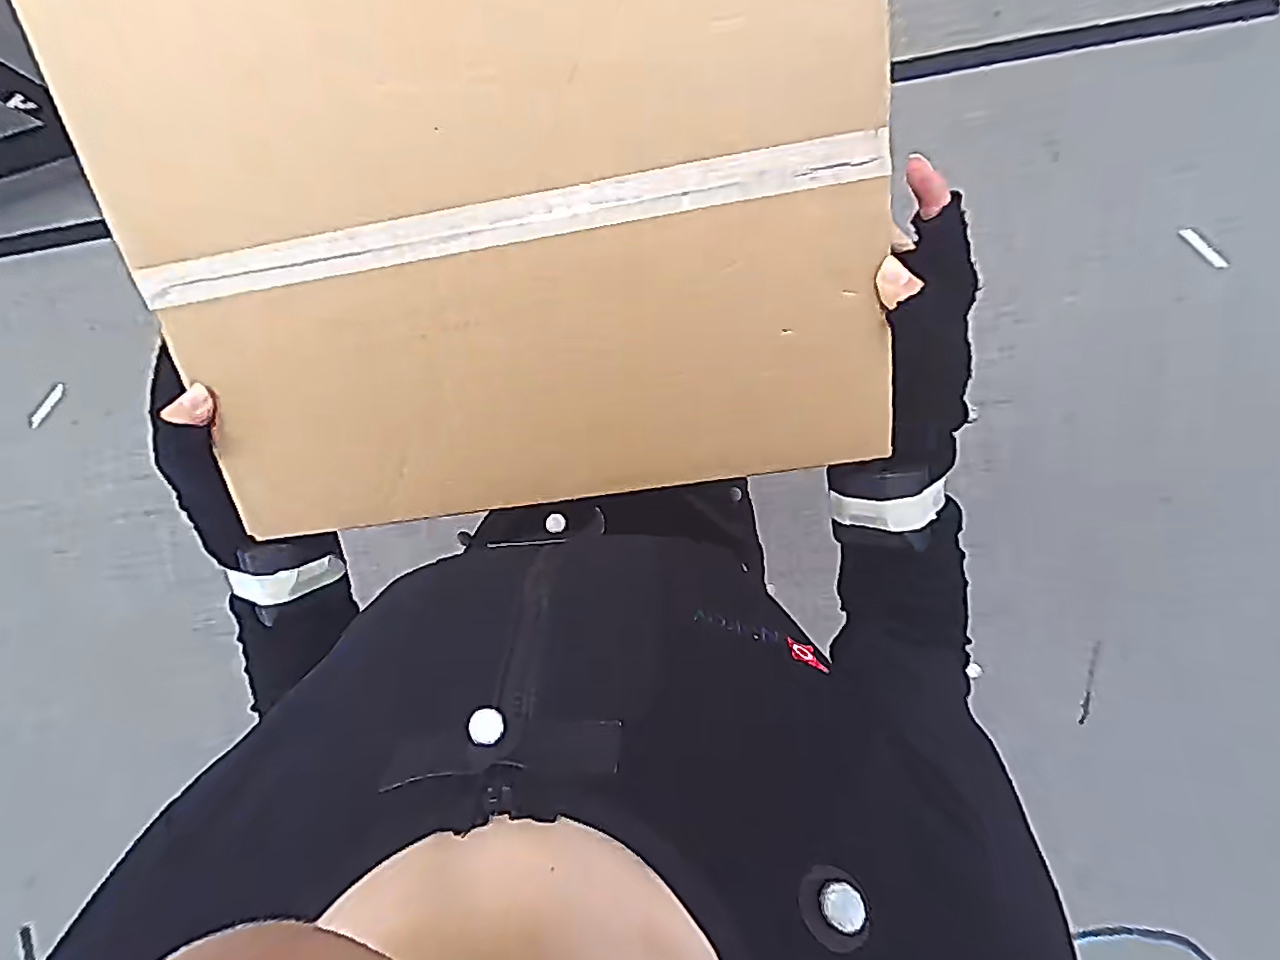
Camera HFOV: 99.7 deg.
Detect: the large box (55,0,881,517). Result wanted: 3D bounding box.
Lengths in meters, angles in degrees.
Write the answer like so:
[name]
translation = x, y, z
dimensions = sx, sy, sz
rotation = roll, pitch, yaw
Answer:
[large box]
translation = -0.071, -0.194, 0.433
dimensions = 0.408, 0.320, 0.320
rotation = -8, 110, 5
